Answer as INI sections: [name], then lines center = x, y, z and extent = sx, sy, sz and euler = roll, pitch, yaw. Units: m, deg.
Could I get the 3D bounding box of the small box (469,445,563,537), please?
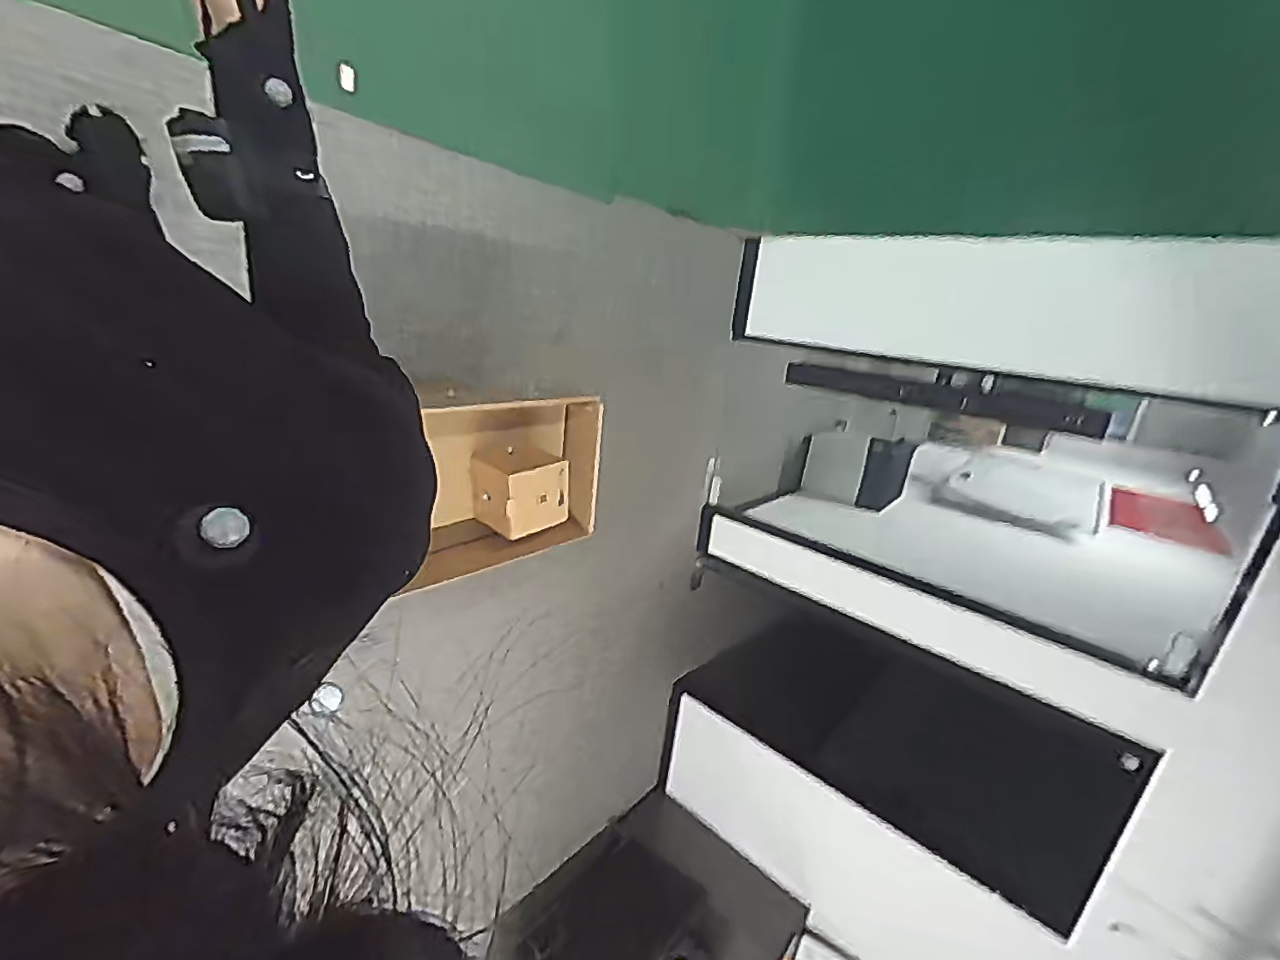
[small box]
center = -0.314, 0.021, 1.350
extent = 0.179, 0.176, 0.168
euler = -17, 120, -44
